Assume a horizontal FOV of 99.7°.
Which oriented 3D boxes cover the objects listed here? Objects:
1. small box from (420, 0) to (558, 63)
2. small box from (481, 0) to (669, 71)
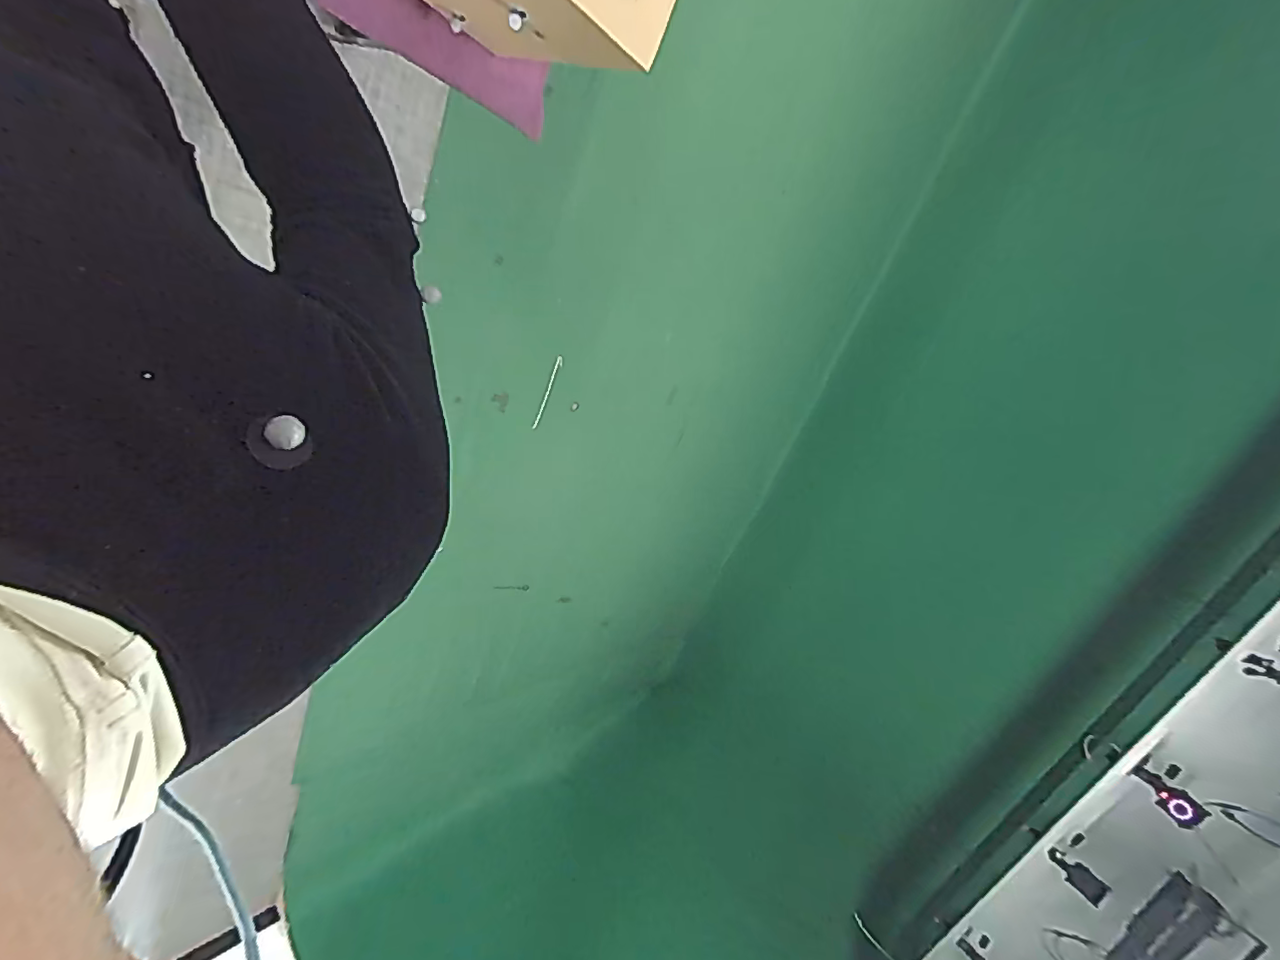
[{"bbox_3d":[-0.183,-0.654,0.657,0.179,0.176,0.168,1,118,-52],"label":"small box"},{"bbox_3d":[-0.069,-0.577,0.568,0.168,0.176,0.179,3,118,-50],"label":"small box"}]
